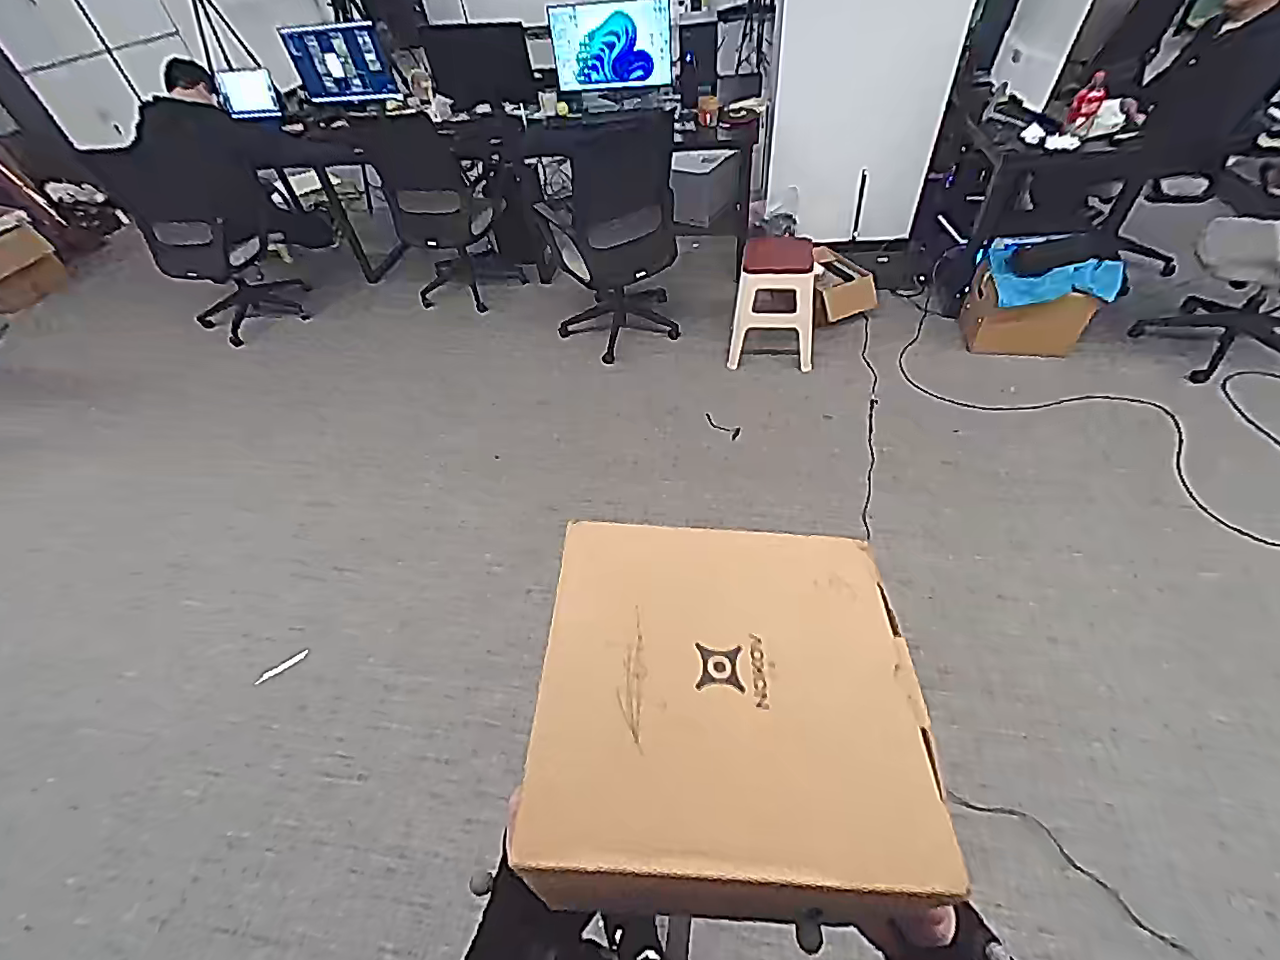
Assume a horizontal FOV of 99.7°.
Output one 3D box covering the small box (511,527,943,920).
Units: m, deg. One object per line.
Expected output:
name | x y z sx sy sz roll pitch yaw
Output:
small box | 0.037 0.149 0.326 0.179 0.176 0.168 3 46 2
